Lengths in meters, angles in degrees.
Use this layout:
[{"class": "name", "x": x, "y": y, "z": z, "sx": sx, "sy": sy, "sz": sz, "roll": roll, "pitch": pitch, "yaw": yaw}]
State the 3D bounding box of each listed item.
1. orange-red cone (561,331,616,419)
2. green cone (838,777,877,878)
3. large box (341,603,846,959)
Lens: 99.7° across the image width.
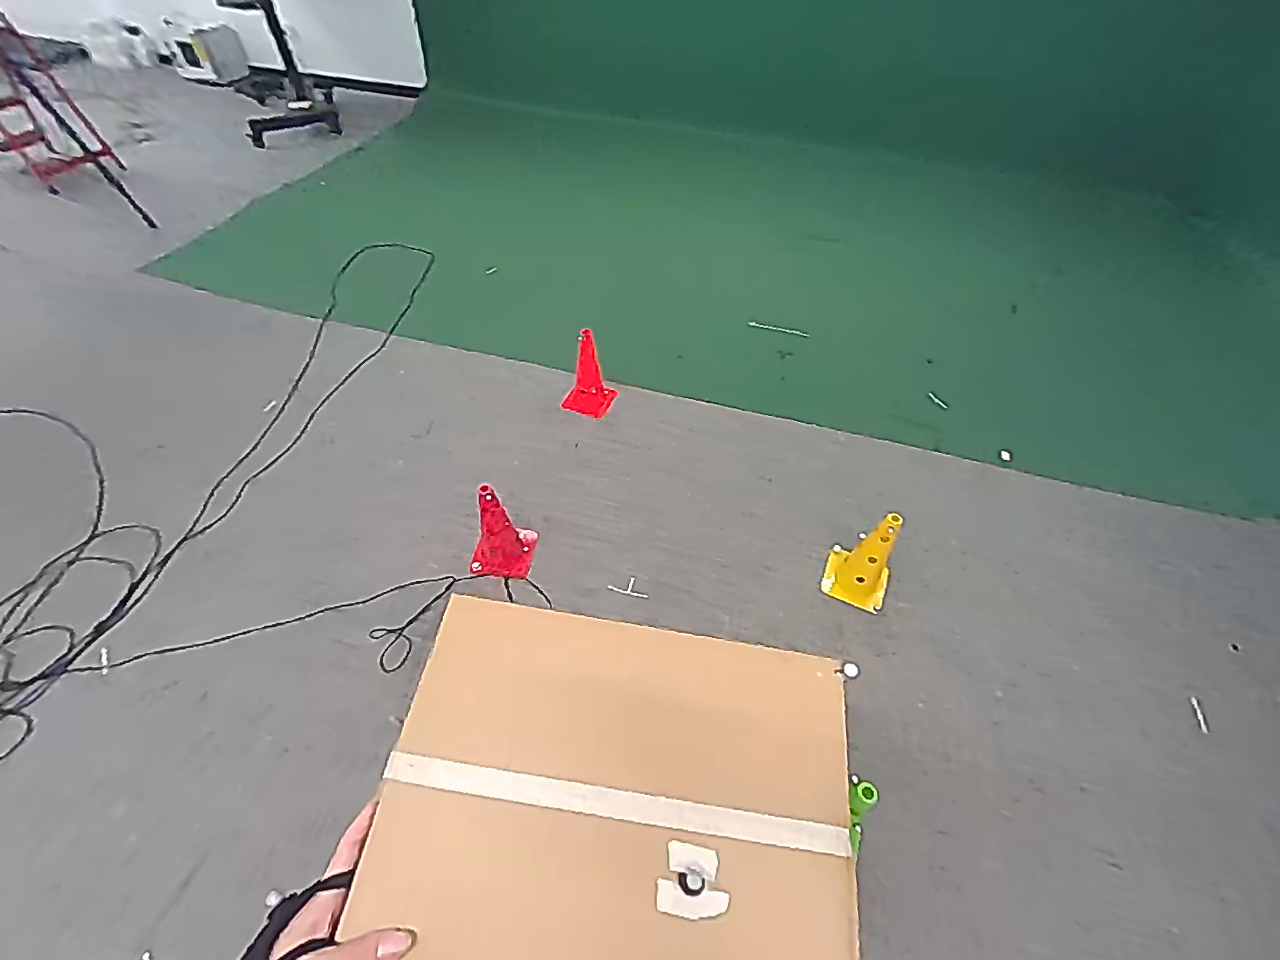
[{"class": "orange-red cone", "x": -0.223, "y": -0.461, "z": 2.253, "sx": 0.199, "sy": 0.360, "sz": 0.198, "roll": 19, "pitch": 51, "yaw": 15}, {"class": "green cone", "x": 0.473, "y": 0.769, "z": 1.268, "sx": 0.200, "sy": 0.368, "sz": 0.202, "roll": 19, "pitch": 51, "yaw": 12}, {"class": "large box", "x": -0.031, "y": 0.361, "z": 0.608, "sx": 0.408, "sy": 0.320, "sz": 0.320, "roll": 9, "pitch": 59, "yaw": 0}]
